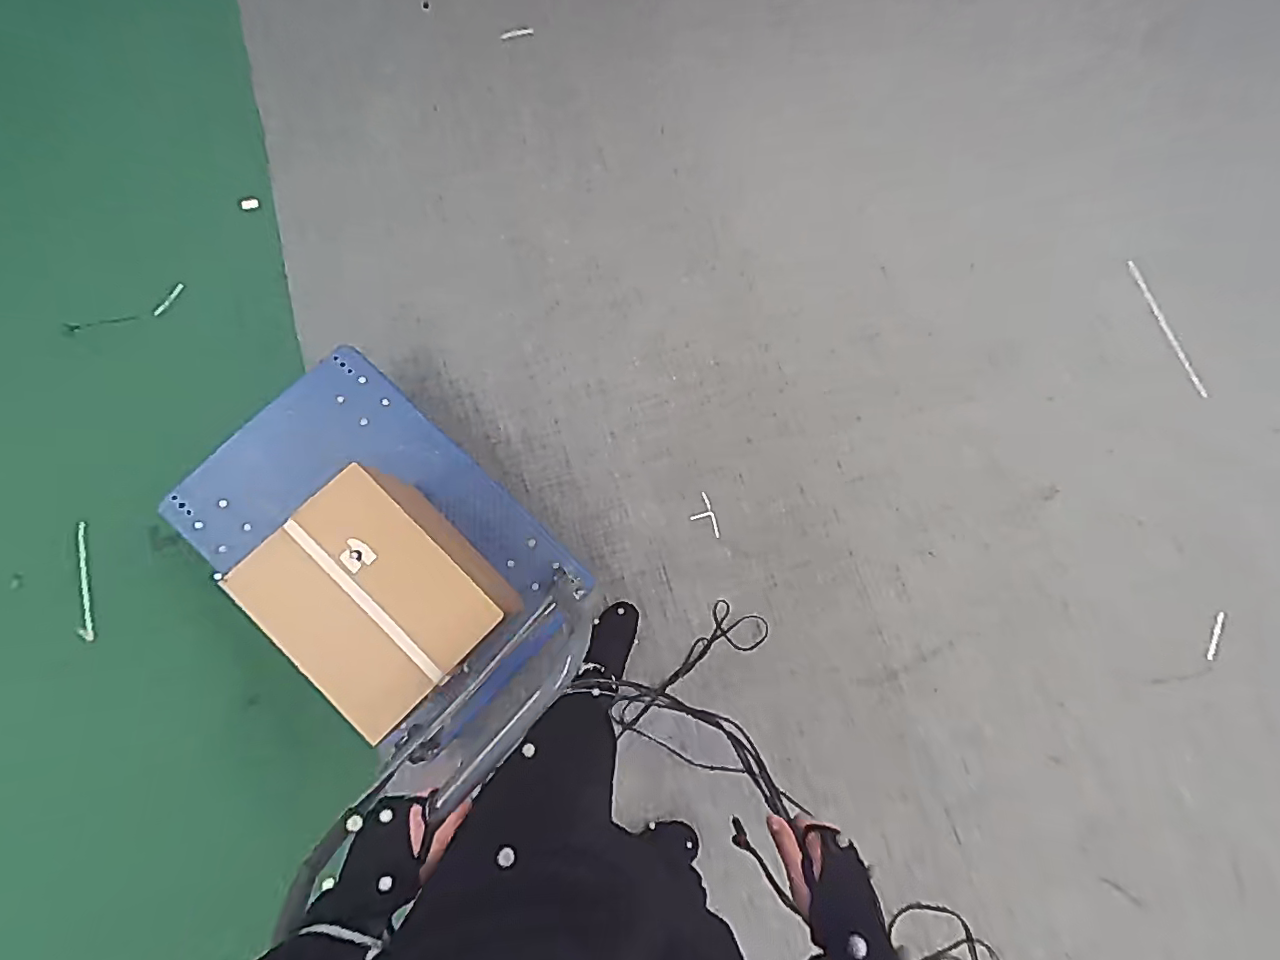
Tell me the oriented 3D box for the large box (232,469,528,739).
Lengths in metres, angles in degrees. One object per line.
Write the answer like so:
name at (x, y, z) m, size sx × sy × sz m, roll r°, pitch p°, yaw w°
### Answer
large box at (-0.499, 0.242, 1.130) m, size 0.320 × 0.320 × 0.408 m, roll -44°, pitch 86°, yaw -10°
